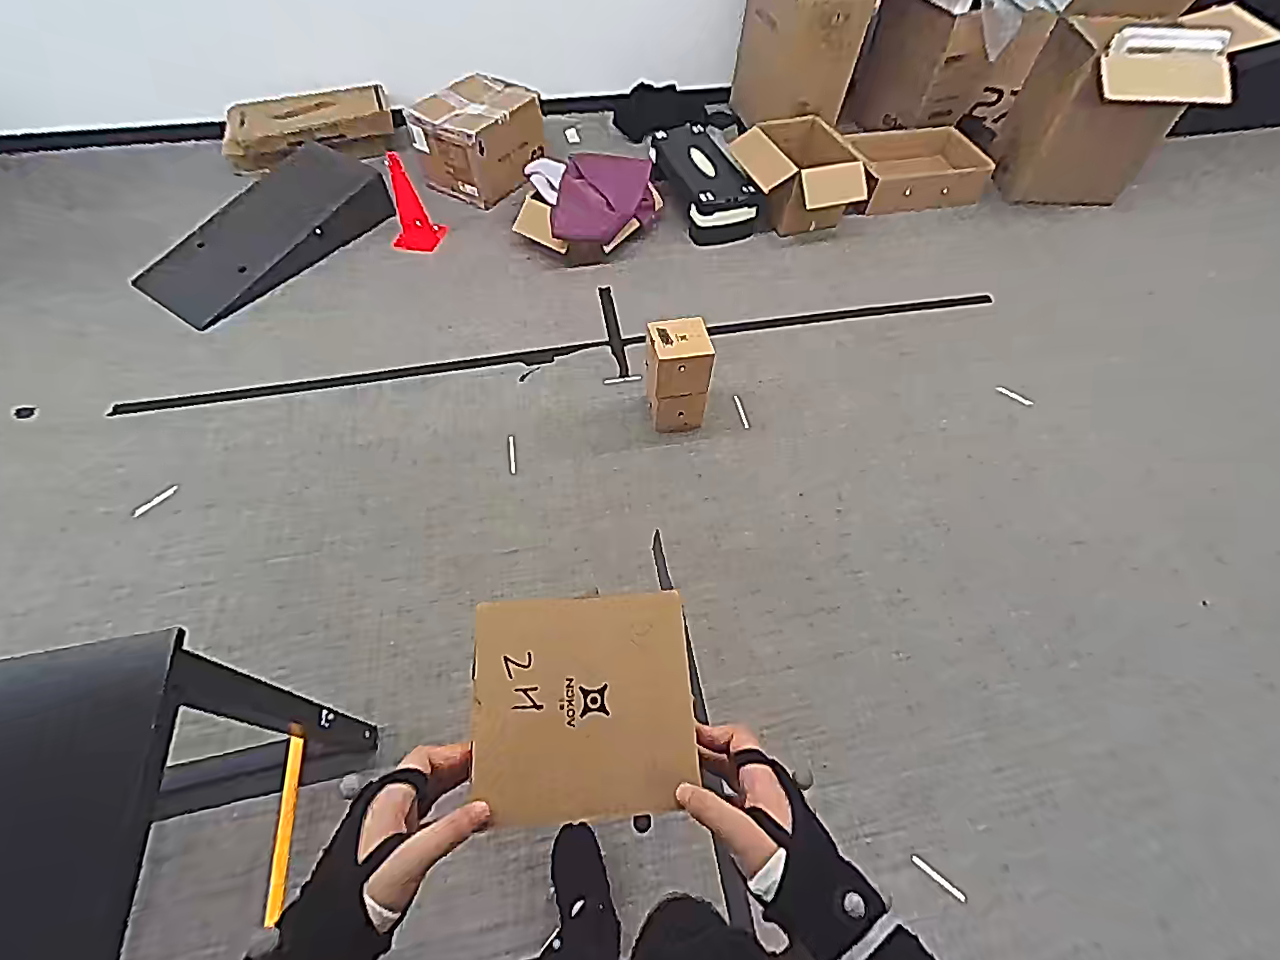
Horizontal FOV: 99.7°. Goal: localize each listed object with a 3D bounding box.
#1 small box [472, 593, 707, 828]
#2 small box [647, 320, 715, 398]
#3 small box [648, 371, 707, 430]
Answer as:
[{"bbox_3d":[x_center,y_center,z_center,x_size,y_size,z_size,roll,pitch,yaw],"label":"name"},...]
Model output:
[{"bbox_3d":[-0.046,0.204,0.501,0.179,0.176,0.168,-3,67,-4],"label":"small box"},{"bbox_3d":[0.122,-0.373,1.691,0.179,0.176,0.168,-8,57,-8],"label":"small box"},{"bbox_3d":[0.123,-0.282,1.830,0.168,0.176,0.179,-7,58,-6],"label":"small box"}]
